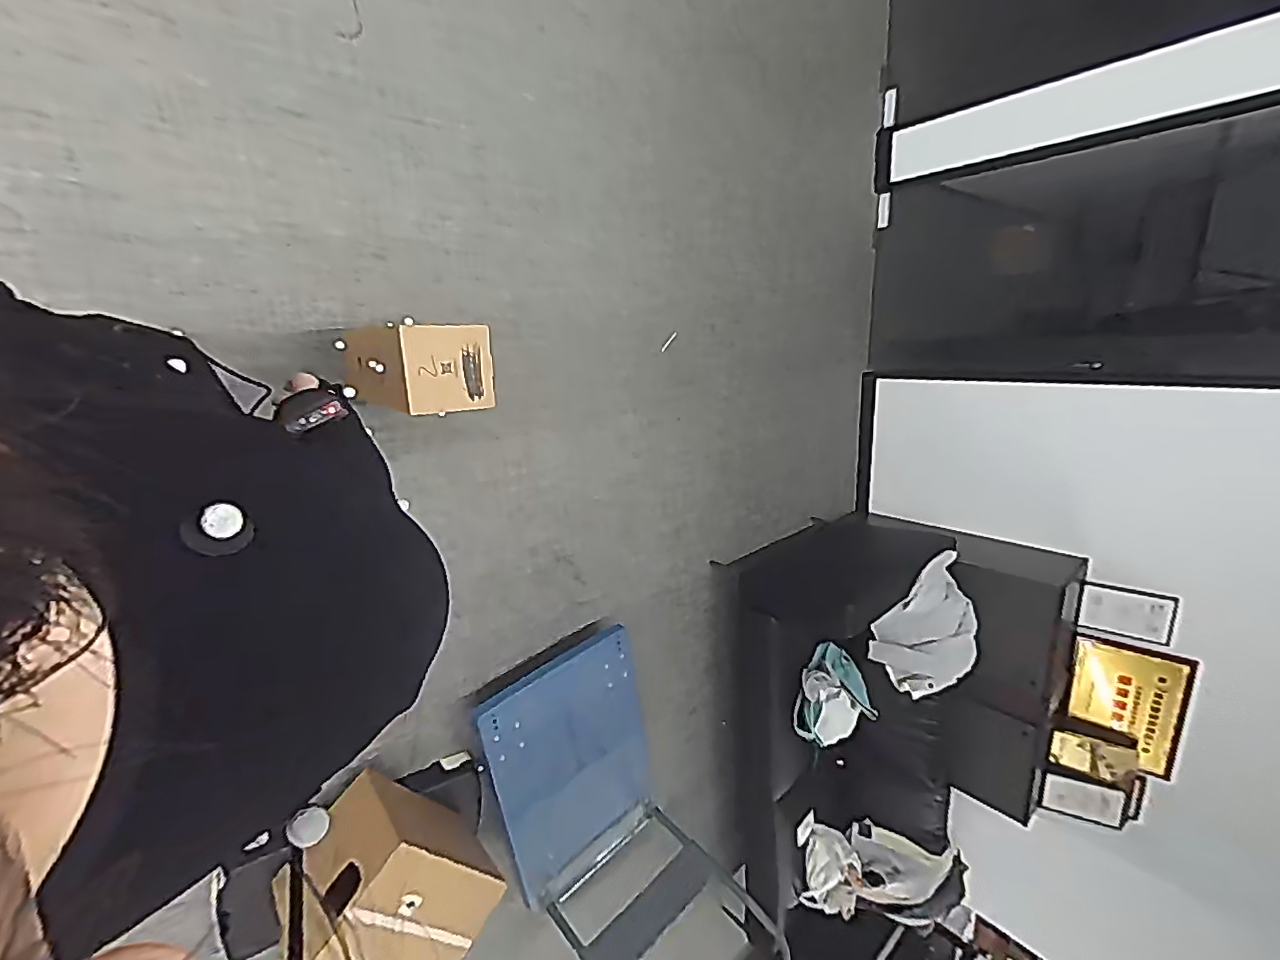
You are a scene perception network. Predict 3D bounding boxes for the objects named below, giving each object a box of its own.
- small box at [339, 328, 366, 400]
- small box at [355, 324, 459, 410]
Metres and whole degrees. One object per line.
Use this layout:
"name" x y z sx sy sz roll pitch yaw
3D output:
"small box" -0.632 -0.290 1.346 0.179 0.176 0.168 -14 110 -40
"small box" -0.528 -0.258 1.223 0.168 0.176 0.179 -13 109 -39
